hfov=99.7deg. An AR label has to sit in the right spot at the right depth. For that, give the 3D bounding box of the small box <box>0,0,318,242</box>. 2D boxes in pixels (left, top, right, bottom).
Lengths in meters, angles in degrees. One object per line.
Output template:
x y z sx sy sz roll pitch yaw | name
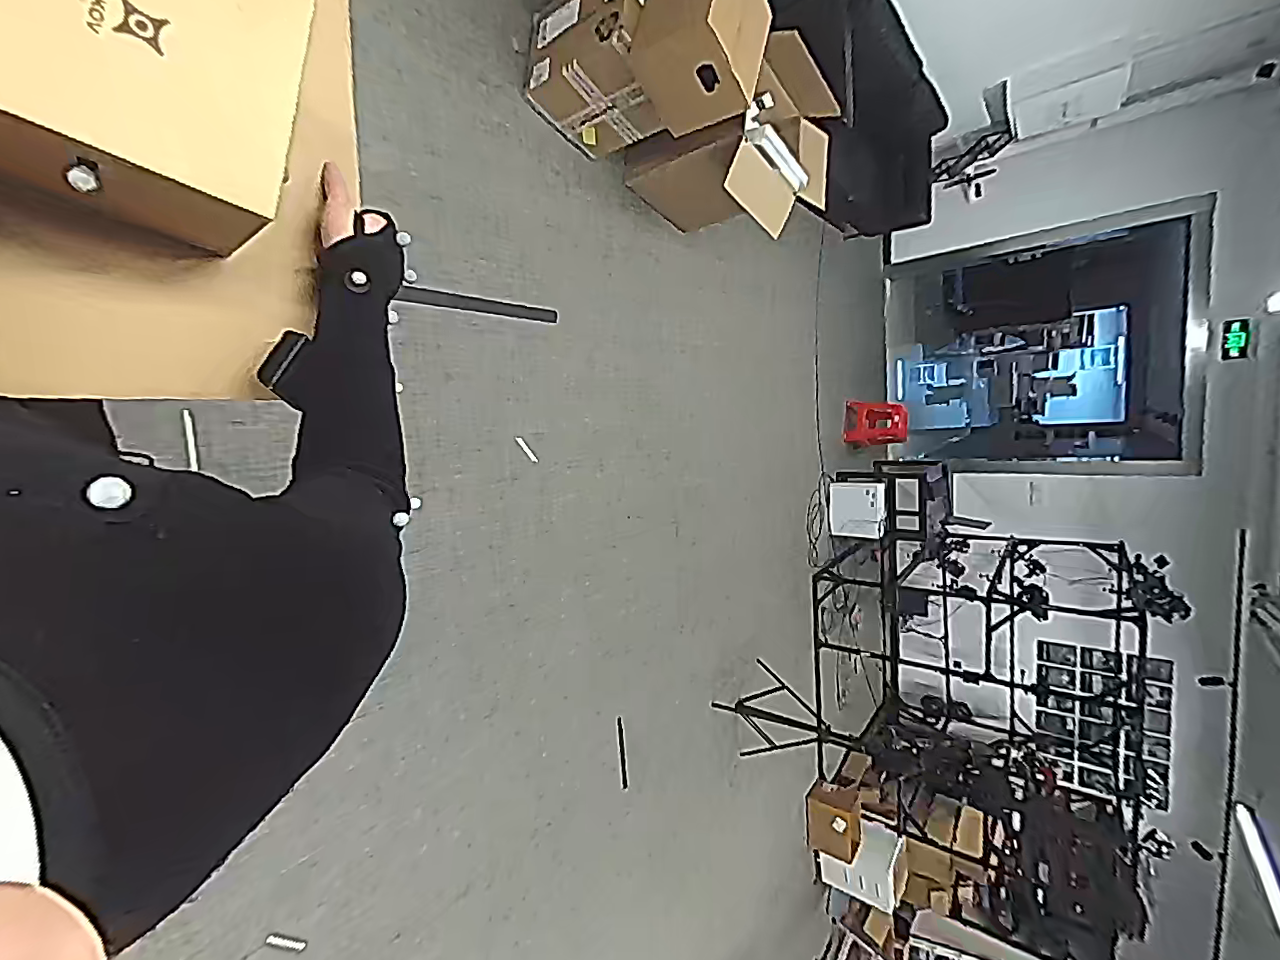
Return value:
-0.368 -0.292 0.392 0.179 0.176 0.168 11 90 -46 | small box
